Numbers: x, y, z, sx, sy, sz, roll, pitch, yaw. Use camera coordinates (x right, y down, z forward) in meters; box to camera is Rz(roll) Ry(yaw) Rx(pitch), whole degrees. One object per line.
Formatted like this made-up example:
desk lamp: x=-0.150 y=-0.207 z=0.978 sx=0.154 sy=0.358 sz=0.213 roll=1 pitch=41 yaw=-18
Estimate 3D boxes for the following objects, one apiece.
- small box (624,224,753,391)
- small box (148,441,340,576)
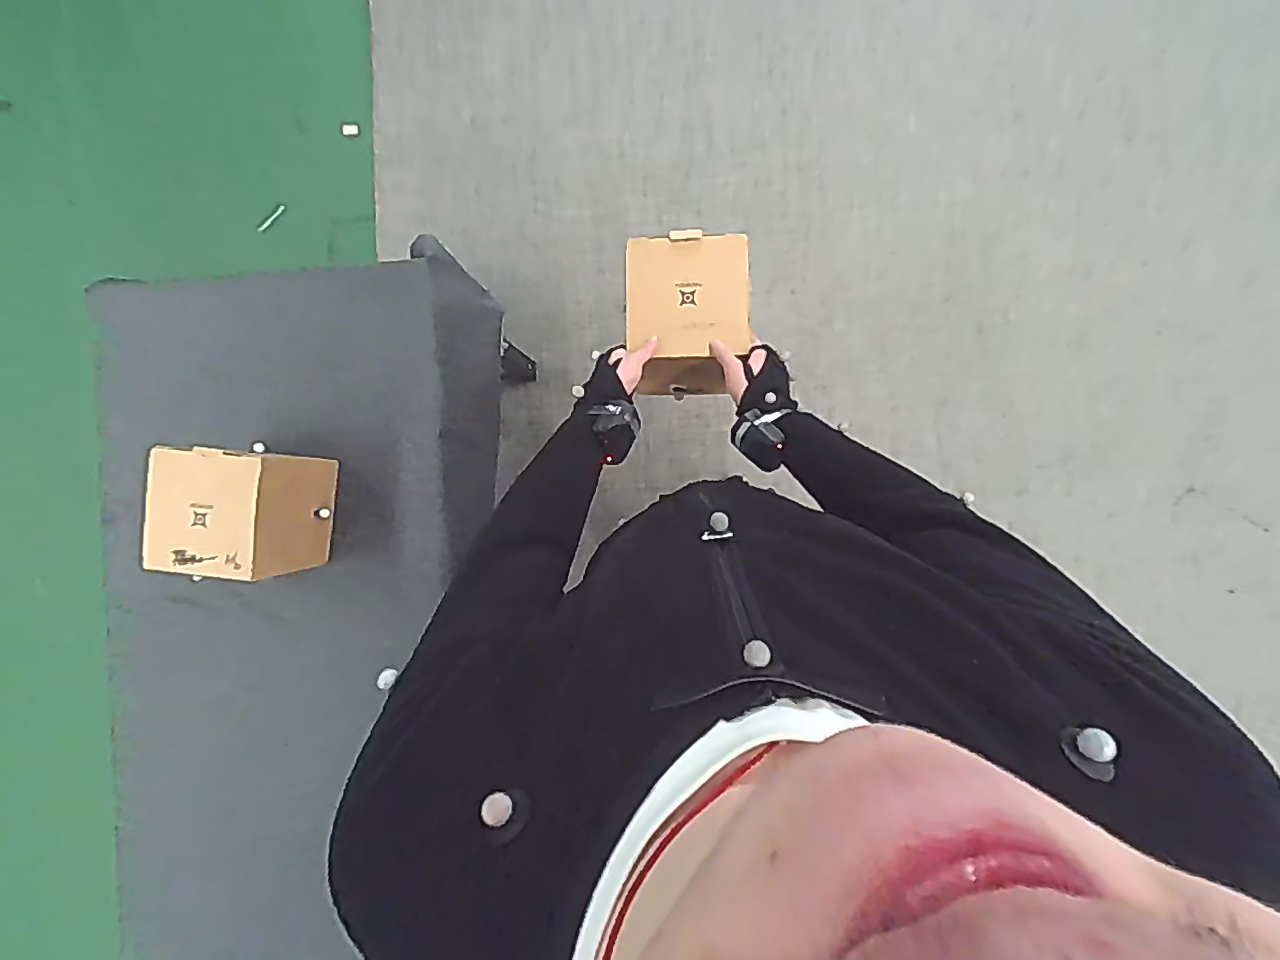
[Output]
small box: x=0.069 y=-0.239 z=0.779 sx=0.168 sy=0.176 sz=0.179 roll=1 pitch=81 yaw=5
small box: x=-0.595 y=0.041 z=0.835 sx=0.168 sy=0.176 sz=0.179 roll=6 pitch=90 yaw=5
